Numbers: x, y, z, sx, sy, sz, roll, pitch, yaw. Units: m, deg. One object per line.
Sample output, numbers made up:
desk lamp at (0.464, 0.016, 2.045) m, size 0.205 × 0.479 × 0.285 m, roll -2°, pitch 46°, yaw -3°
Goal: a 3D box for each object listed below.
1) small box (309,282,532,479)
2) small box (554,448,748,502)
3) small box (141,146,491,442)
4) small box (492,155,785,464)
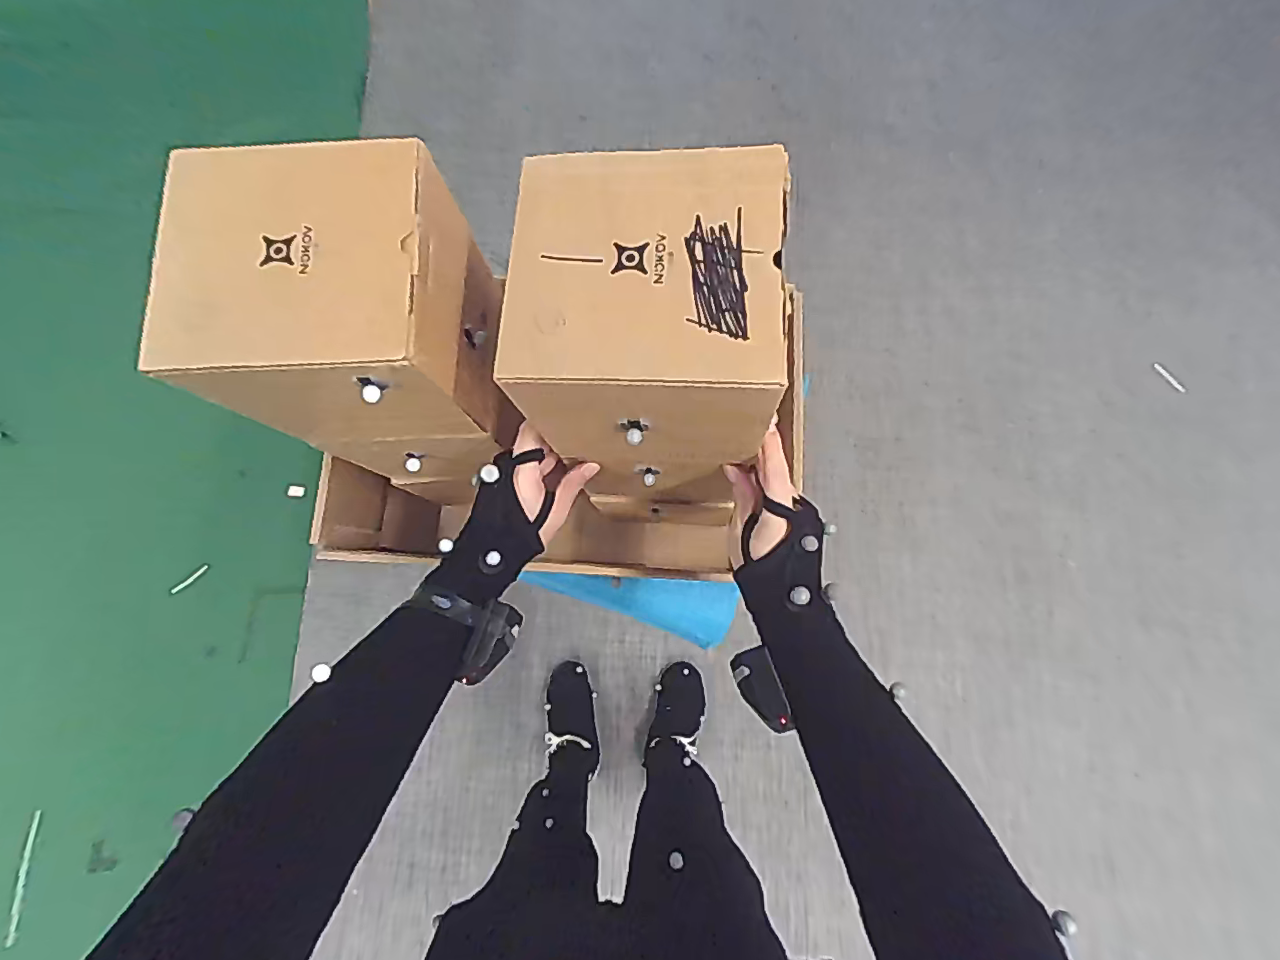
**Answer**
small box at (-0.224, -0.097, 0.598) m, size 0.179 × 0.176 × 0.168 m, roll -2°, pitch 79°, yaw 1°
small box at (0.021, -0.075, 0.573) m, size 0.179 × 0.176 × 0.168 m, roll 3°, pitch 76°, yaw 5°
small box at (-0.233, -0.132, 0.437) m, size 0.179 × 0.176 × 0.168 m, roll -3°, pitch 78°, yaw 0°
small box at (0.008, -0.113, 0.414) m, size 0.179 × 0.176 × 0.168 m, roll 2°, pitch 76°, yaw 7°
